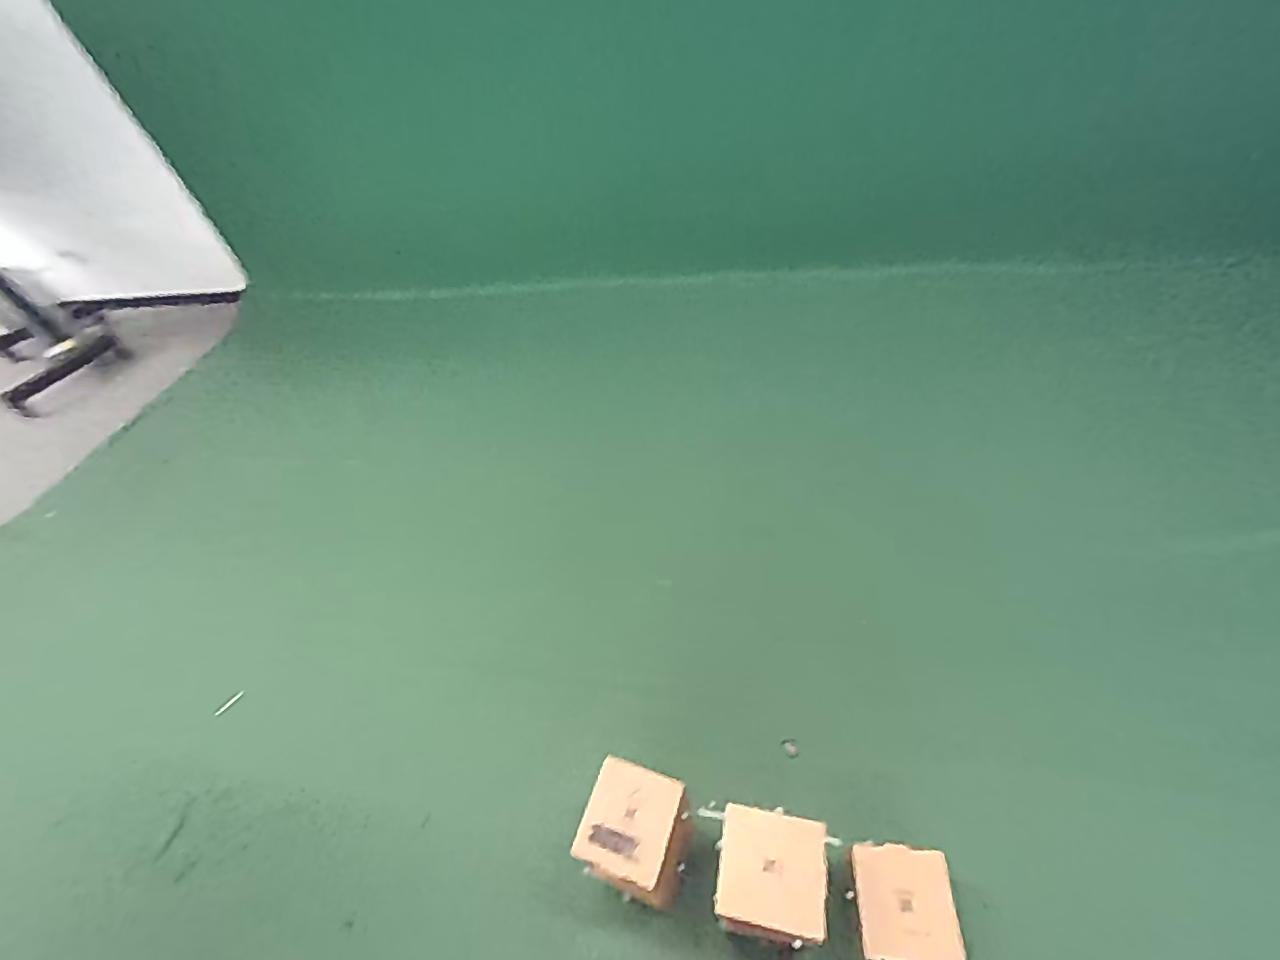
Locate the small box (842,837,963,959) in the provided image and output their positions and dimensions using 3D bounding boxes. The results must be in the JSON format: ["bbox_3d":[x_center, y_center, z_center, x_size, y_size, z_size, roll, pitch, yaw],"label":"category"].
[{"bbox_3d":[0.494,0.817,1.046,0.168,0.176,0.179,-1,49,11],"label":"small box"}]

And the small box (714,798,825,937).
[{"bbox_3d":[0.235,0.702,0.978,0.179,0.176,0.168,4,50,14],"label":"small box"}]

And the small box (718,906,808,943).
[{"bbox_3d":[0.251,0.812,1.098,0.168,0.176,0.179,2,49,13],"label":"small box"}]

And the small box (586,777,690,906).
[{"bbox_3d":[0.005,0.784,1.172,0.168,0.176,0.179,12,53,22],"label":"small box"}]
